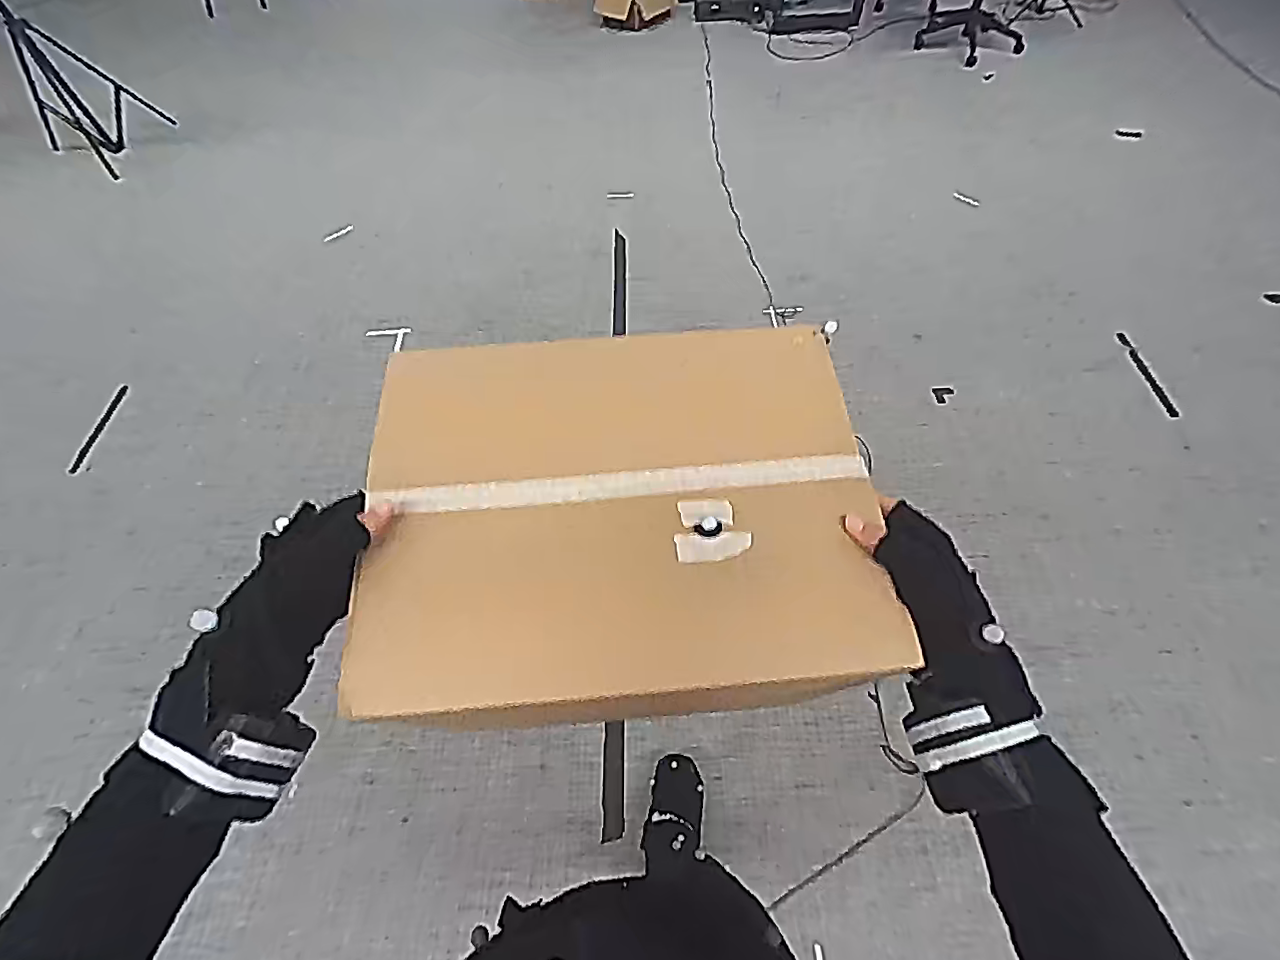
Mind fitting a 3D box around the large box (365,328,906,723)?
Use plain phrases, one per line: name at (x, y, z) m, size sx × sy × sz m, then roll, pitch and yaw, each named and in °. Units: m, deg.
large box at (-0.014, 0.069, 0.588) m, size 0.408 × 0.320 × 0.320 m, roll -4°, pitch 63°, yaw -2°
